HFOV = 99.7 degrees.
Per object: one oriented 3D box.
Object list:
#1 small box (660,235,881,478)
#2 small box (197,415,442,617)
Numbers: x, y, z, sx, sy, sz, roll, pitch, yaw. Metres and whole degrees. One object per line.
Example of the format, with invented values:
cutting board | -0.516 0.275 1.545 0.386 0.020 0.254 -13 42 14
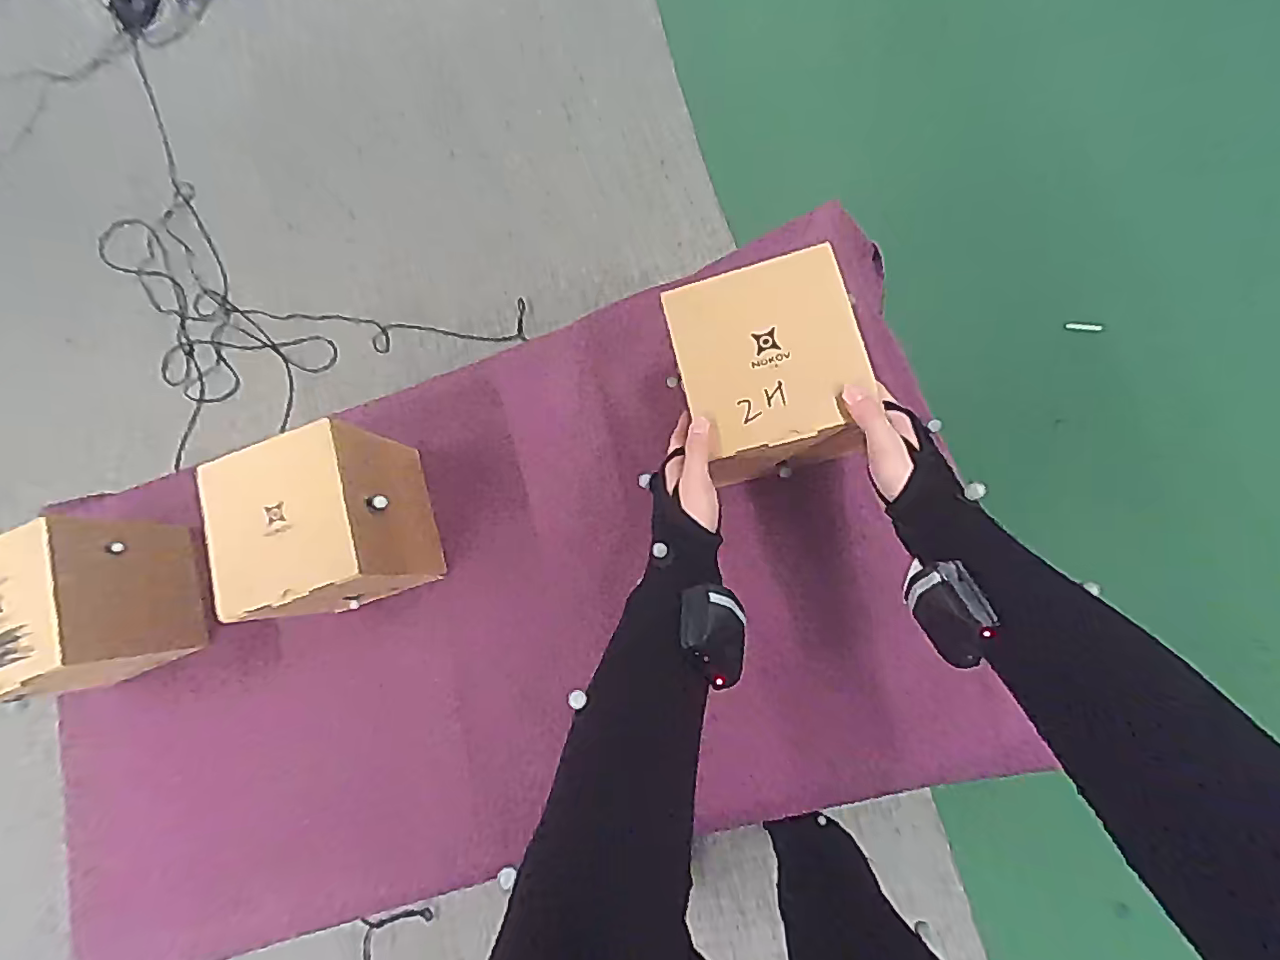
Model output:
small box | 0.127 -0.112 0.567 0.168 0.176 0.179 -14 80 9
small box | -0.363 0.048 0.637 0.168 0.176 0.179 -19 80 7
